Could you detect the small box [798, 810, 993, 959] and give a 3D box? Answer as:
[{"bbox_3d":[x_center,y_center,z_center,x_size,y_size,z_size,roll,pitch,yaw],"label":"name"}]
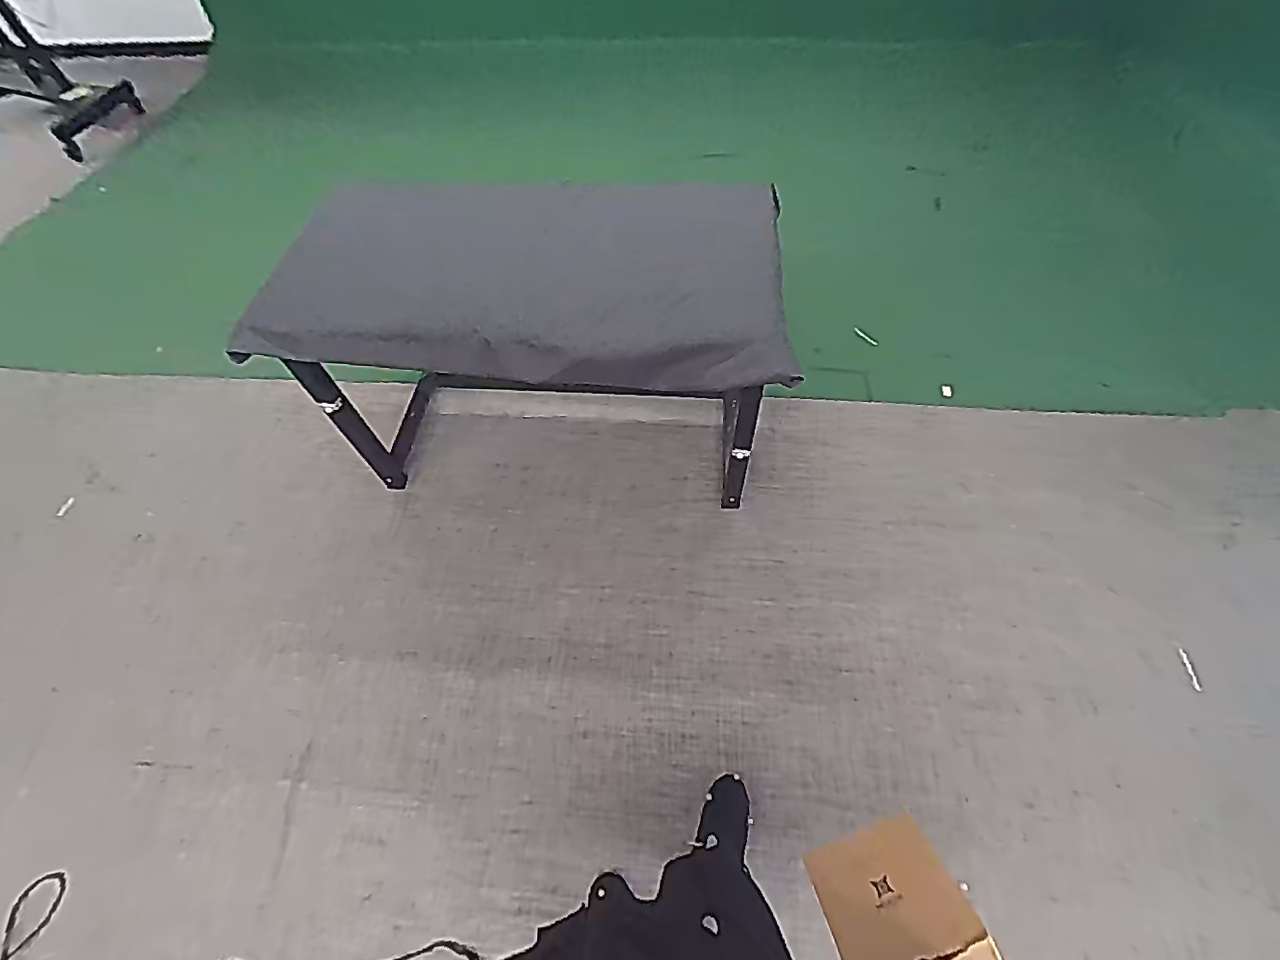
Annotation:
[{"bbox_3d":[0.335,0.585,0.695,0.168,0.176,0.179,-24,13,1],"label":"small box"}]
